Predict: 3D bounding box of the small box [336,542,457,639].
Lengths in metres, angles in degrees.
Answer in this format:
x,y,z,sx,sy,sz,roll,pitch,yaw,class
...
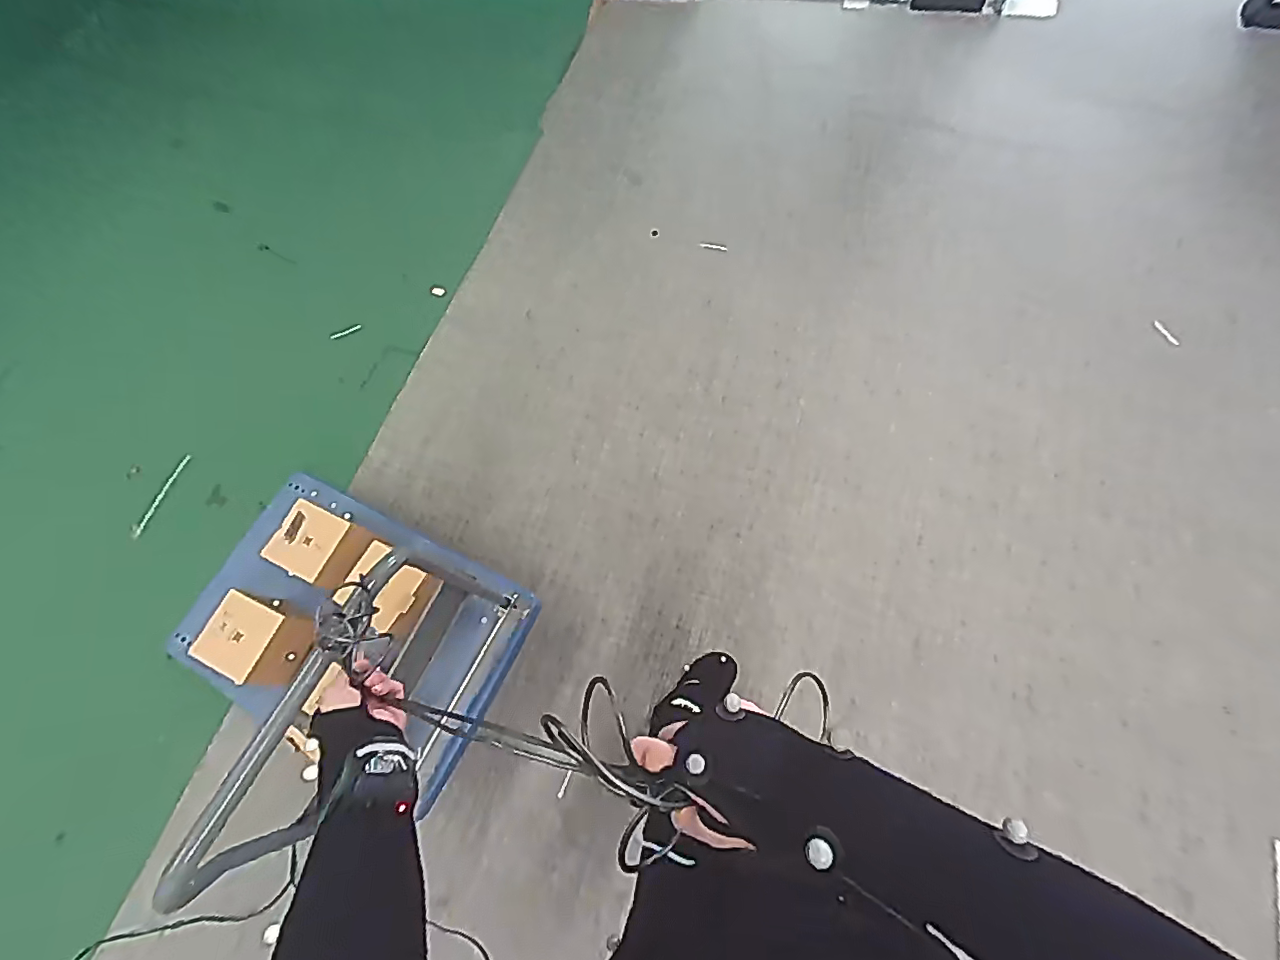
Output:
x,y,z,sx,sy,sz,roll,pitch,yaw,class
-0.594,0.280,1.340,0.179,0.176,0.168,26,74,15,small box

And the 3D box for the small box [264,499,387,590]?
x,y,z,sx,sy,sz,roll,pitch,yaw,class
-0.808,0.178,1.406,0.179,0.176,0.168,23,74,14,small box

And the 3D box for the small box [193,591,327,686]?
x,y,z,sx,sy,sz,roll,pitch,yaw,class
-0.926,0.394,1.336,0.179,0.176,0.168,21,72,15,small box
